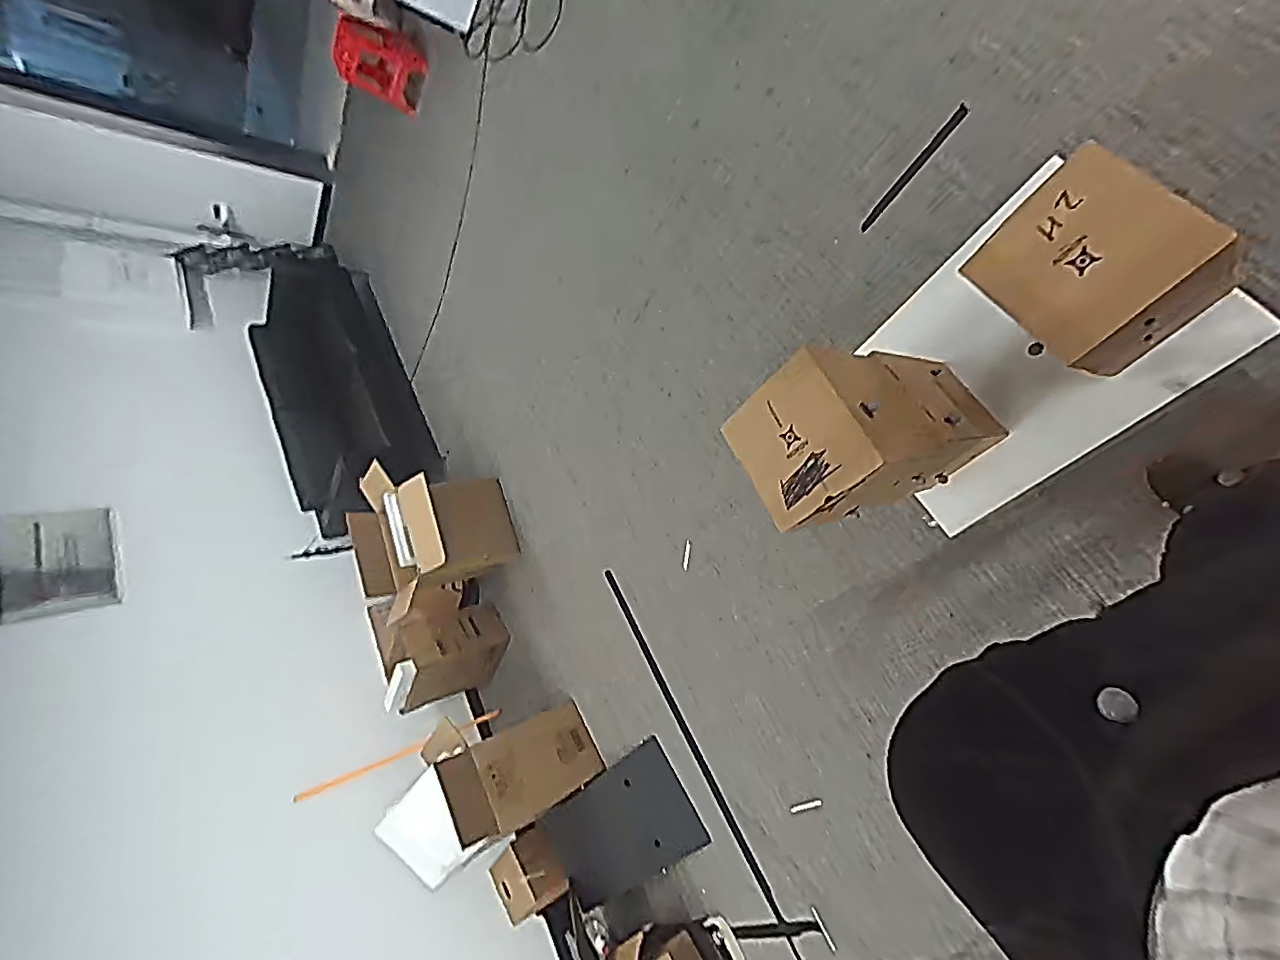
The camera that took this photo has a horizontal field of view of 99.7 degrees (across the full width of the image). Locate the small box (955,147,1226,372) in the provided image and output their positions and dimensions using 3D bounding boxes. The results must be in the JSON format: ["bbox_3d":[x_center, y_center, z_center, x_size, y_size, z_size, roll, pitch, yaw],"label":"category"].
[{"bbox_3d":[0.526,-0.246,0.638,0.168,0.176,0.179,-51,59,38],"label":"small box"}]

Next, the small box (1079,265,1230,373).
[{"bbox_3d":[0.647,-0.262,0.749,0.179,0.176,0.168,58,133,24],"label":"small box"}]

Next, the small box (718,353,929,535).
[{"bbox_3d":[0.246,-0.049,0.727,0.168,0.176,0.179,-45,62,40],"label":"small box"}]

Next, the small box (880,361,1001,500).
[{"bbox_3d":[0.487,-0.088,0.948,0.168,0.176,0.179,-49,61,38],"label":"small box"}]
